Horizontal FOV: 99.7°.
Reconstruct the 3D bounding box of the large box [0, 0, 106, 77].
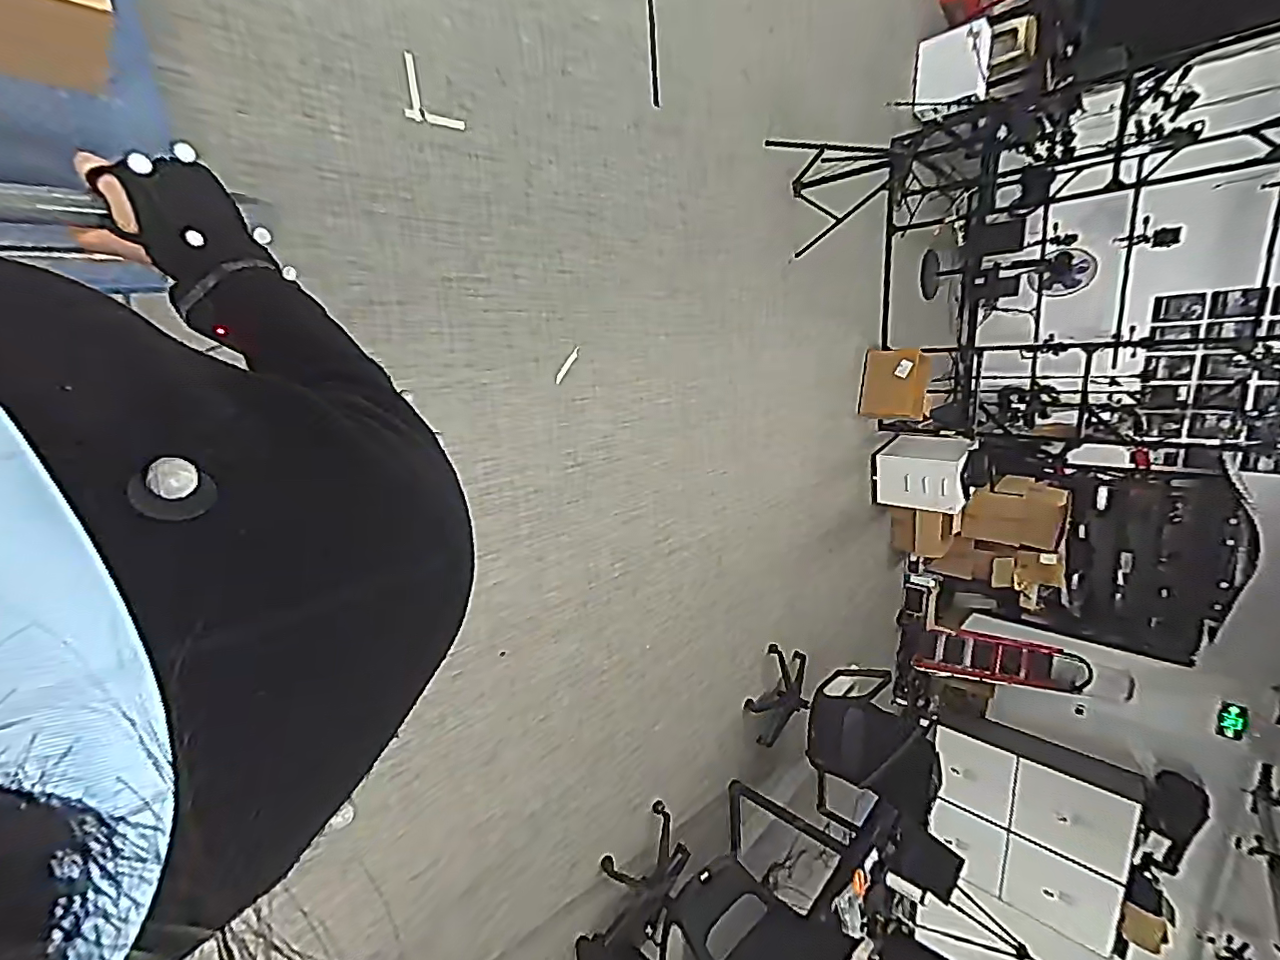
[{"bbox_3d":[-0.961,-0.753,0.643,0.408,0.320,0.320,-18,110,-43],"label":"large box"}]
